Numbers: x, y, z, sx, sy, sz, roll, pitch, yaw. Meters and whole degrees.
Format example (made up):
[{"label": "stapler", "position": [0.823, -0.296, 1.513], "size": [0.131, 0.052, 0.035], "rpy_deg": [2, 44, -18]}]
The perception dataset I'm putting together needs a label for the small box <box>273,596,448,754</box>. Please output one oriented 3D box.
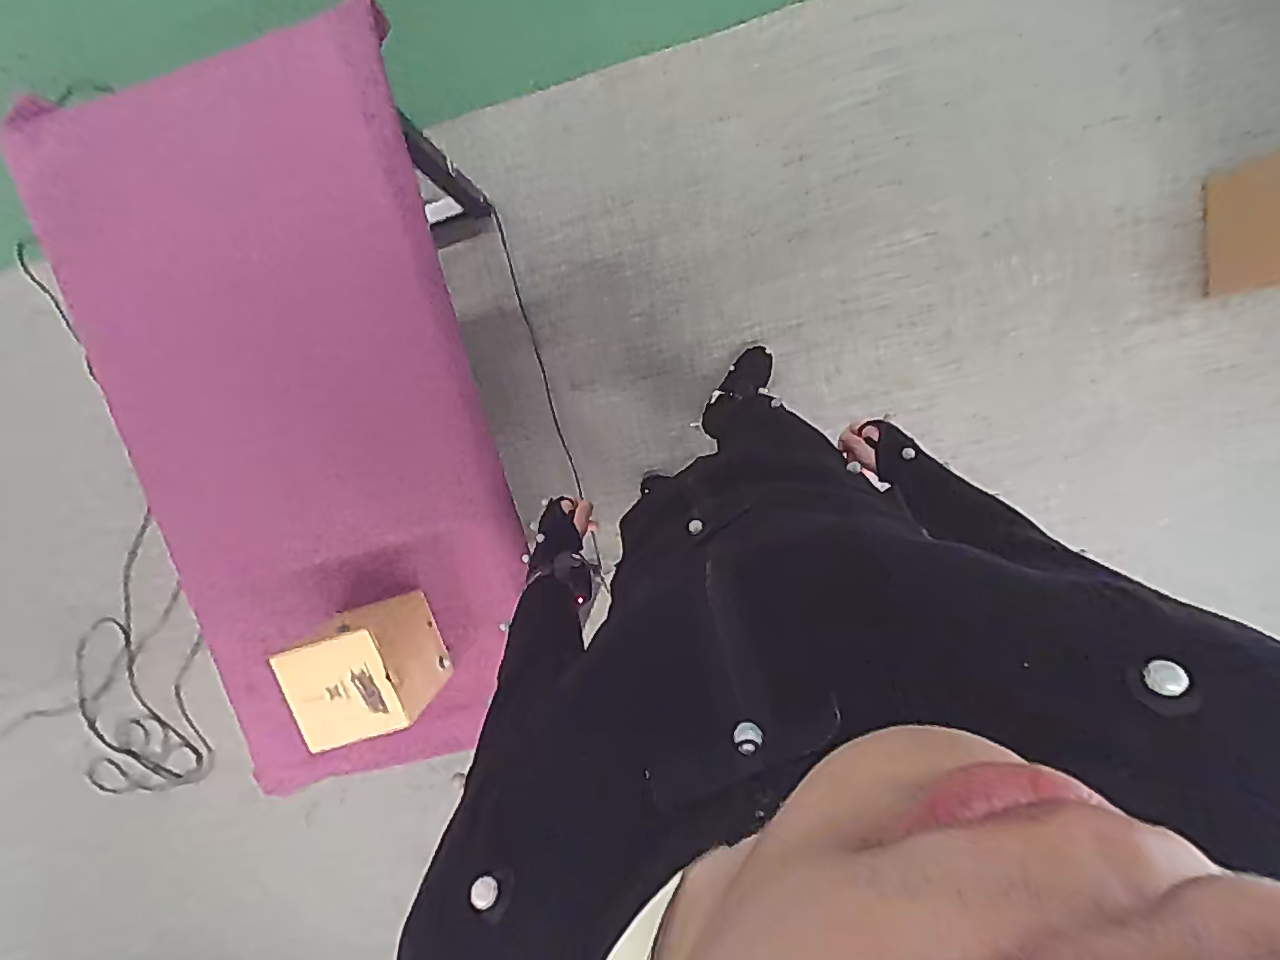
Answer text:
[{"label": "small box", "position": [-0.442, 0.310, 0.893], "size": [0.179, 0.176, 0.168], "rpy_deg": [-18, 97, 8]}]
